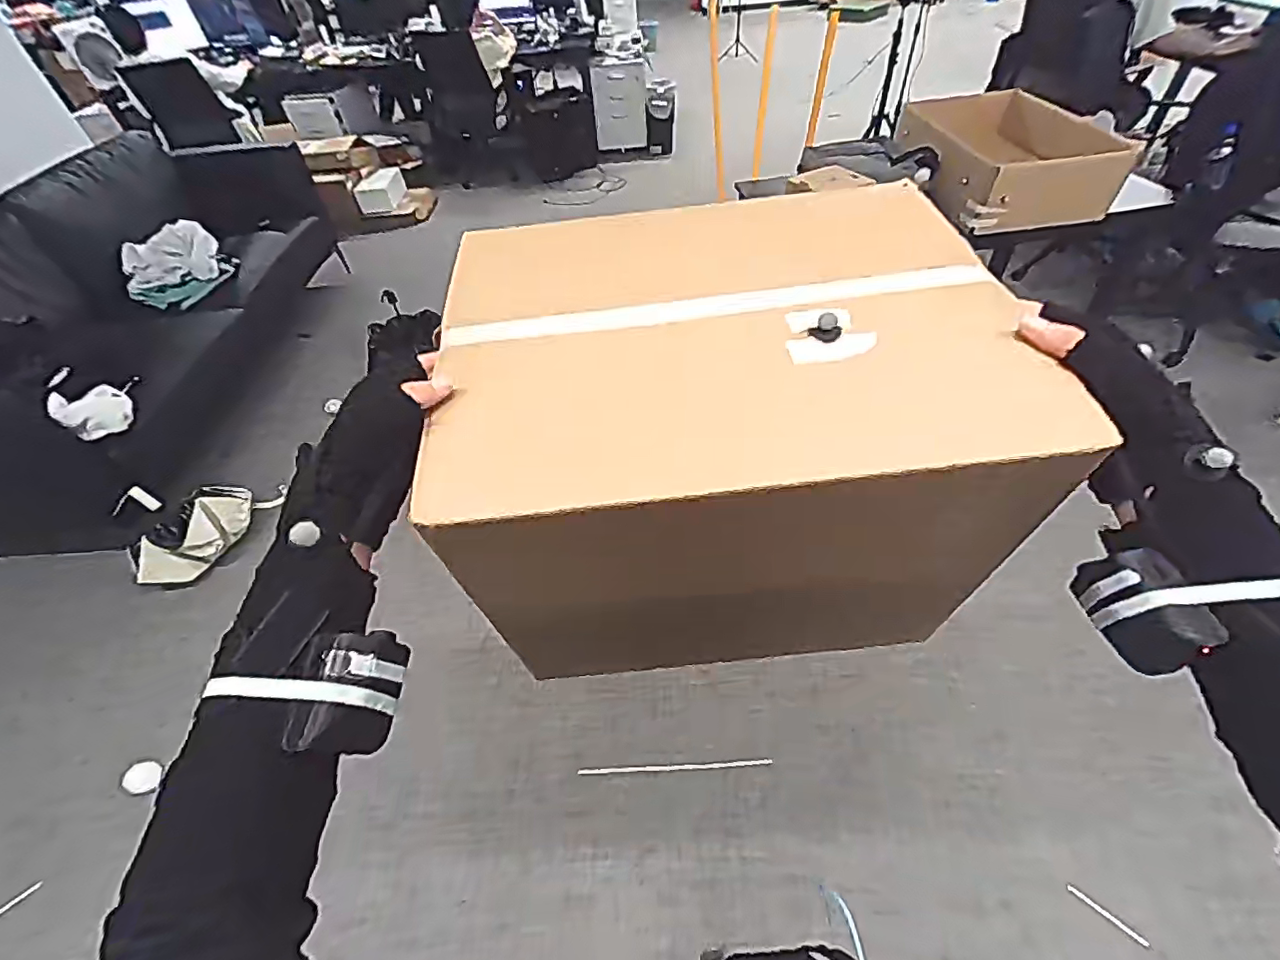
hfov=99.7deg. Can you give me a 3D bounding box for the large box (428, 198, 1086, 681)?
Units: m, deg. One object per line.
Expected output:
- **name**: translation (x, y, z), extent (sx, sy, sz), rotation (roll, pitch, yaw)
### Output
- **large box**: translation (0.064, -0.025, 0.524), extent (0.408, 0.320, 0.320), rotation (-7, 54, 0)
